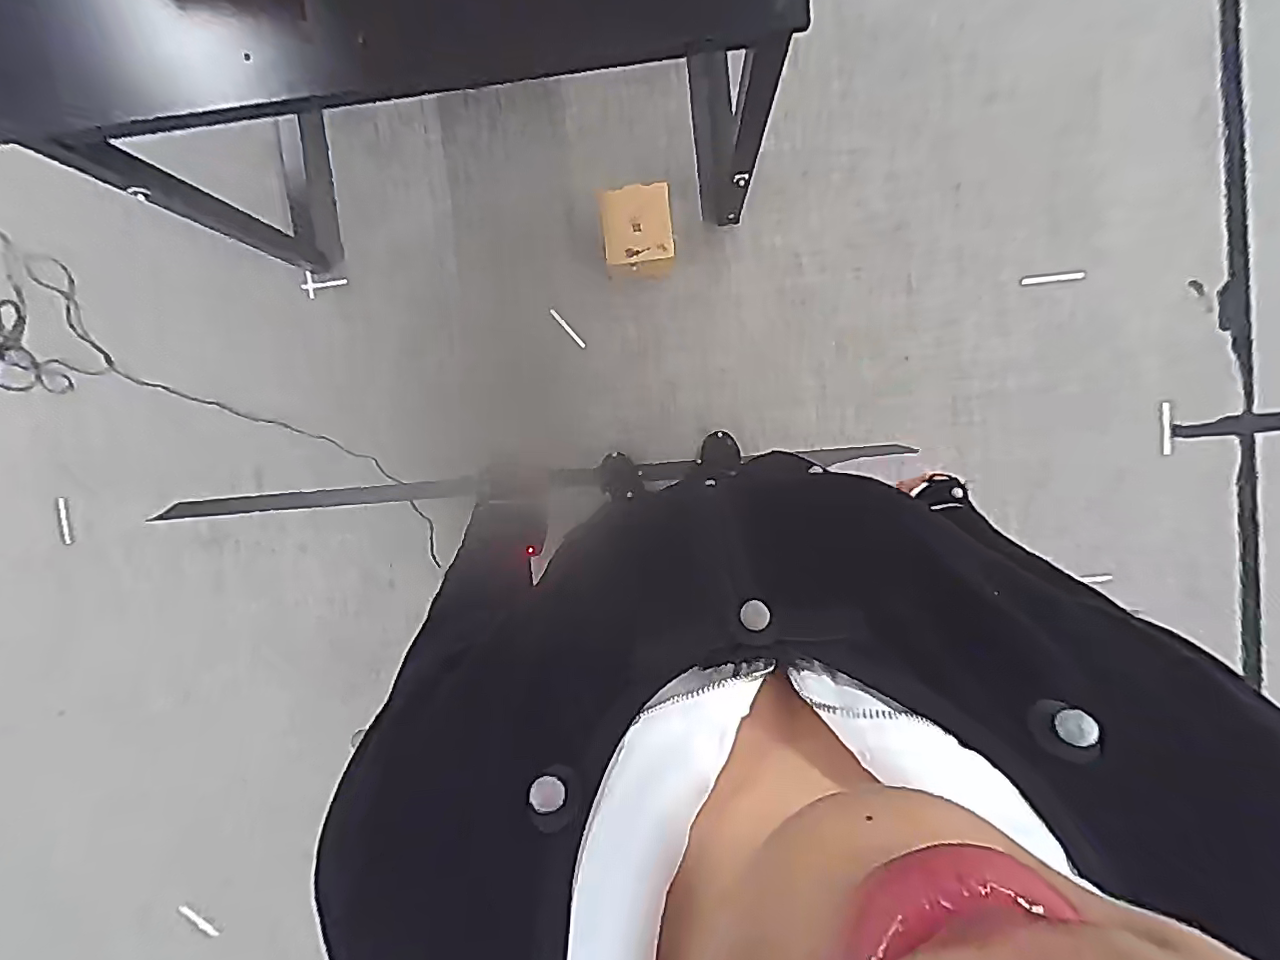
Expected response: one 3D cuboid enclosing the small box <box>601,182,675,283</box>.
[{"bbox_3d":[-0.002,-0.619,1.372,0.168,0.176,0.179,-6,94,5],"label":"small box"}]
